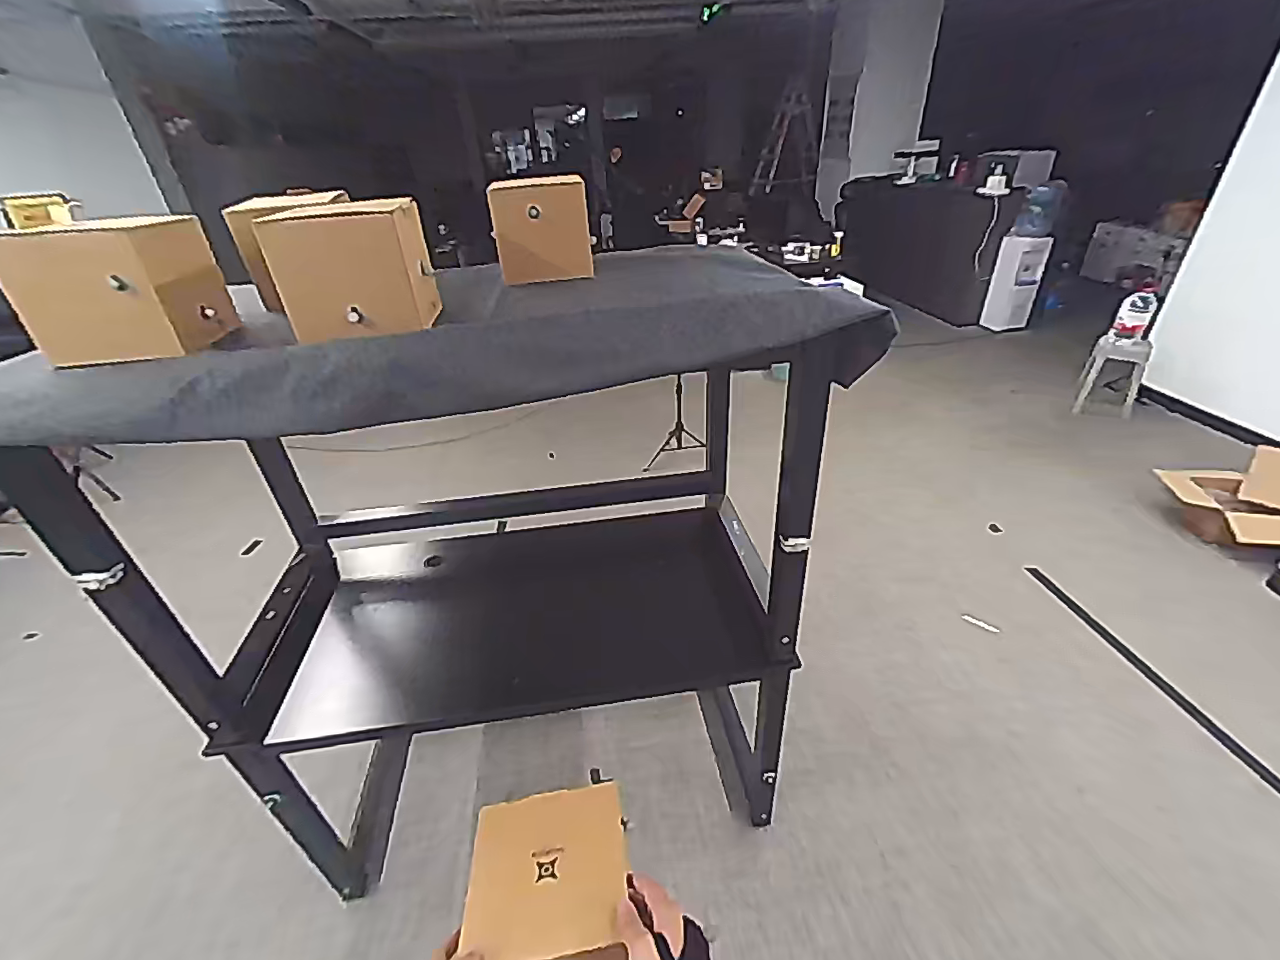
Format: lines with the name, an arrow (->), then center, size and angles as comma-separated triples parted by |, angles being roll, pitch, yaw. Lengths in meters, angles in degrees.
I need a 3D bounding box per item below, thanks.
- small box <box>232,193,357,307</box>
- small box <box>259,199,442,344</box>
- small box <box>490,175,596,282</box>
small box -> -0.610, -0.434, 1.014 | 0.168, 0.176, 0.179 | -11, 33, -10
small box -> -0.407, -0.311, 0.803 | 0.179, 0.176, 0.168 | -7, 32, -6
small box -> -0.185, -0.498, 1.071 | 0.179, 0.176, 0.168 | -7, 33, -5
